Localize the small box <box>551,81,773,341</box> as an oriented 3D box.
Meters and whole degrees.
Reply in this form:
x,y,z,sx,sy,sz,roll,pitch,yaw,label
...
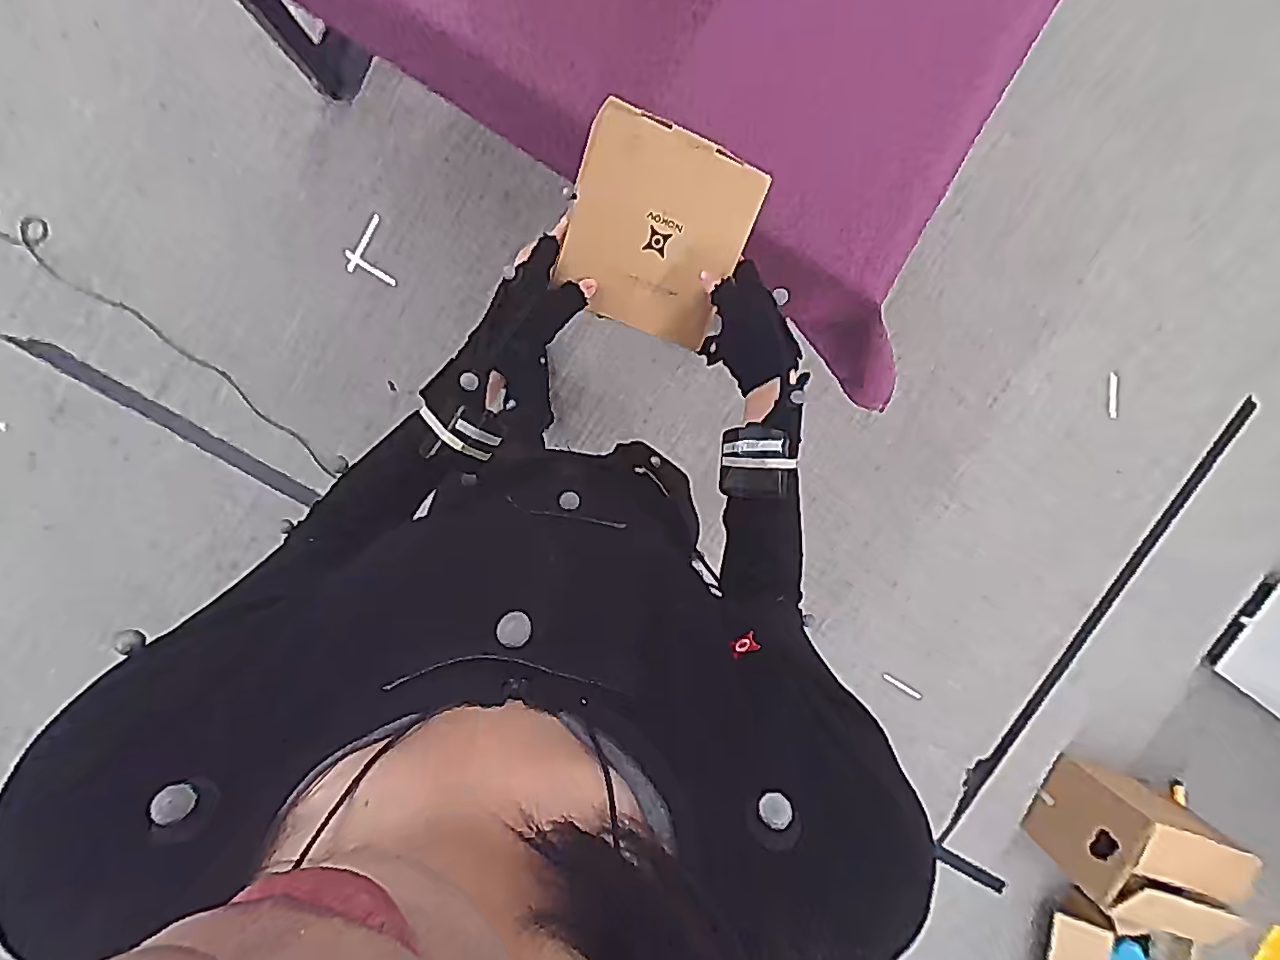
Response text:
x,y,z,sx,sy,sz,roll,pitch,yaw,label
0.007,-0.274,0.577,0.168,0.176,0.179,17,112,-16,small box
